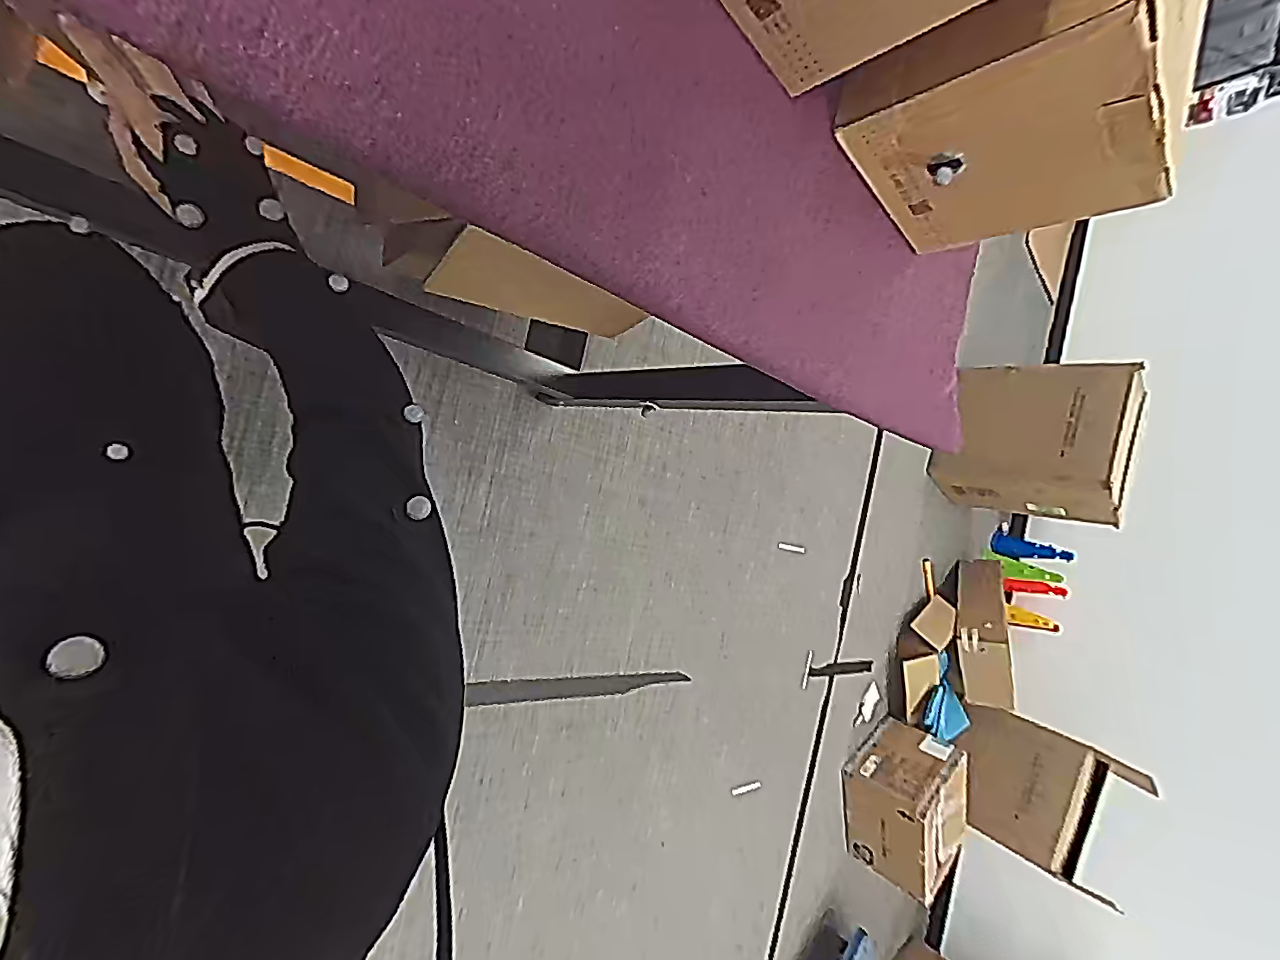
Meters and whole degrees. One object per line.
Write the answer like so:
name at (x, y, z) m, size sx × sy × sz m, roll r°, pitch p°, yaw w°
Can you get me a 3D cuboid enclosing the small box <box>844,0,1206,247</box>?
small box at (0.266, -0.298, 0.380) m, size 0.168 × 0.176 × 0.179 m, roll 19°, pitch 84°, yaw -41°
